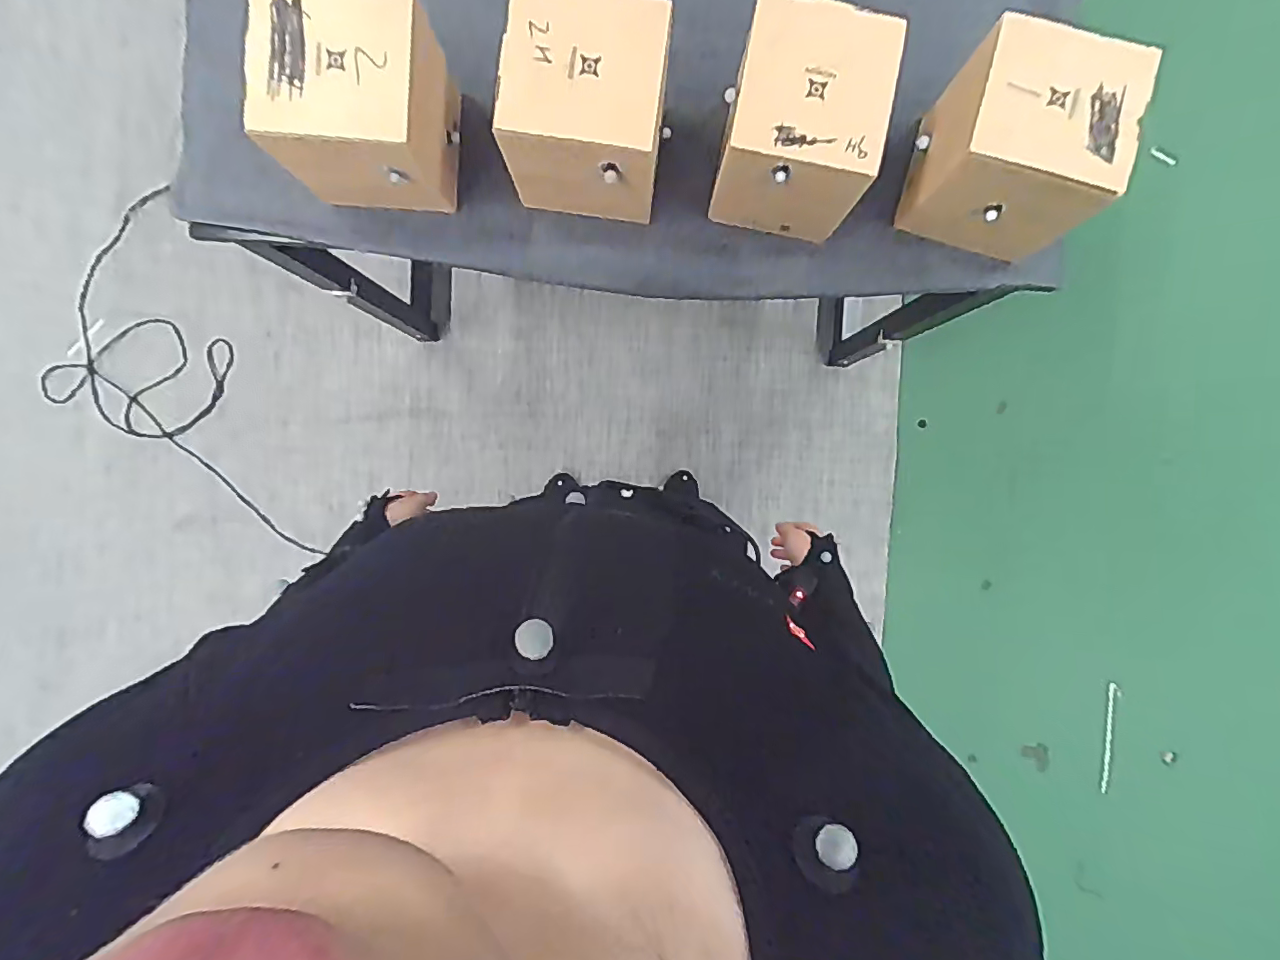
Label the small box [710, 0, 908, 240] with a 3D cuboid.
[{"bbox_3d":[0.189,-0.426,0.654,0.168,0.176,0.179,12,90,-1],"label":"small box"}]

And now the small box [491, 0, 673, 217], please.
[{"bbox_3d":[-0.061,-0.443,0.652,0.179,0.176,0.168,8,91,1],"label":"small box"}]

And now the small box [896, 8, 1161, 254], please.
[{"bbox_3d":[0.449,-0.399,0.653,0.179,0.176,0.168,16,88,0],"label":"small box"}]
